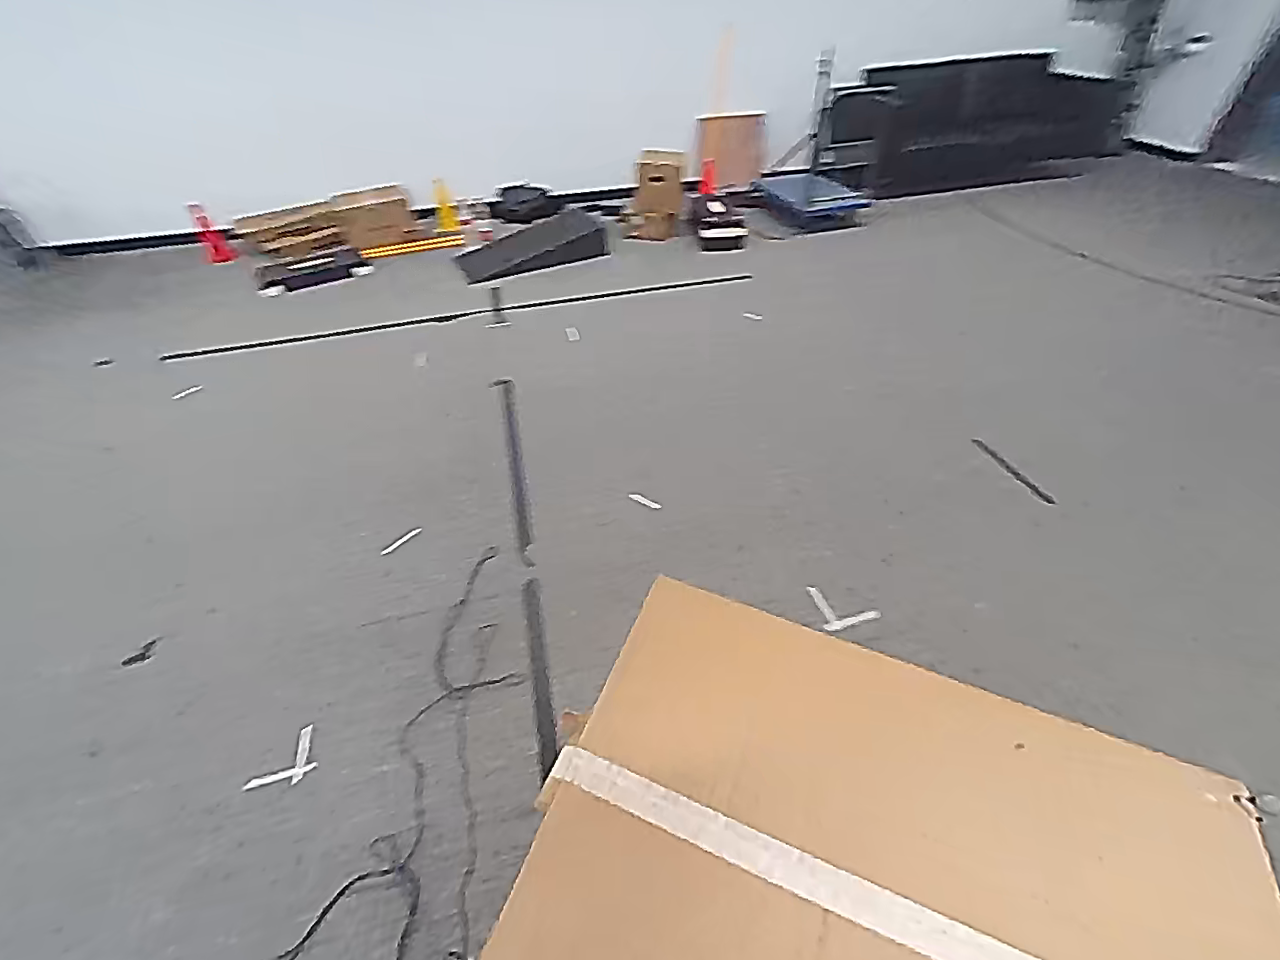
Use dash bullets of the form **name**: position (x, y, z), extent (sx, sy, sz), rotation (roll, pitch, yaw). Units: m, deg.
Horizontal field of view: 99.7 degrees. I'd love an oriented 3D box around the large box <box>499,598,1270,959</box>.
- **large box**: position (0.136, 0.352, 0.419), extent (0.408, 0.320, 0.320), rotation (17, 51, 14)
